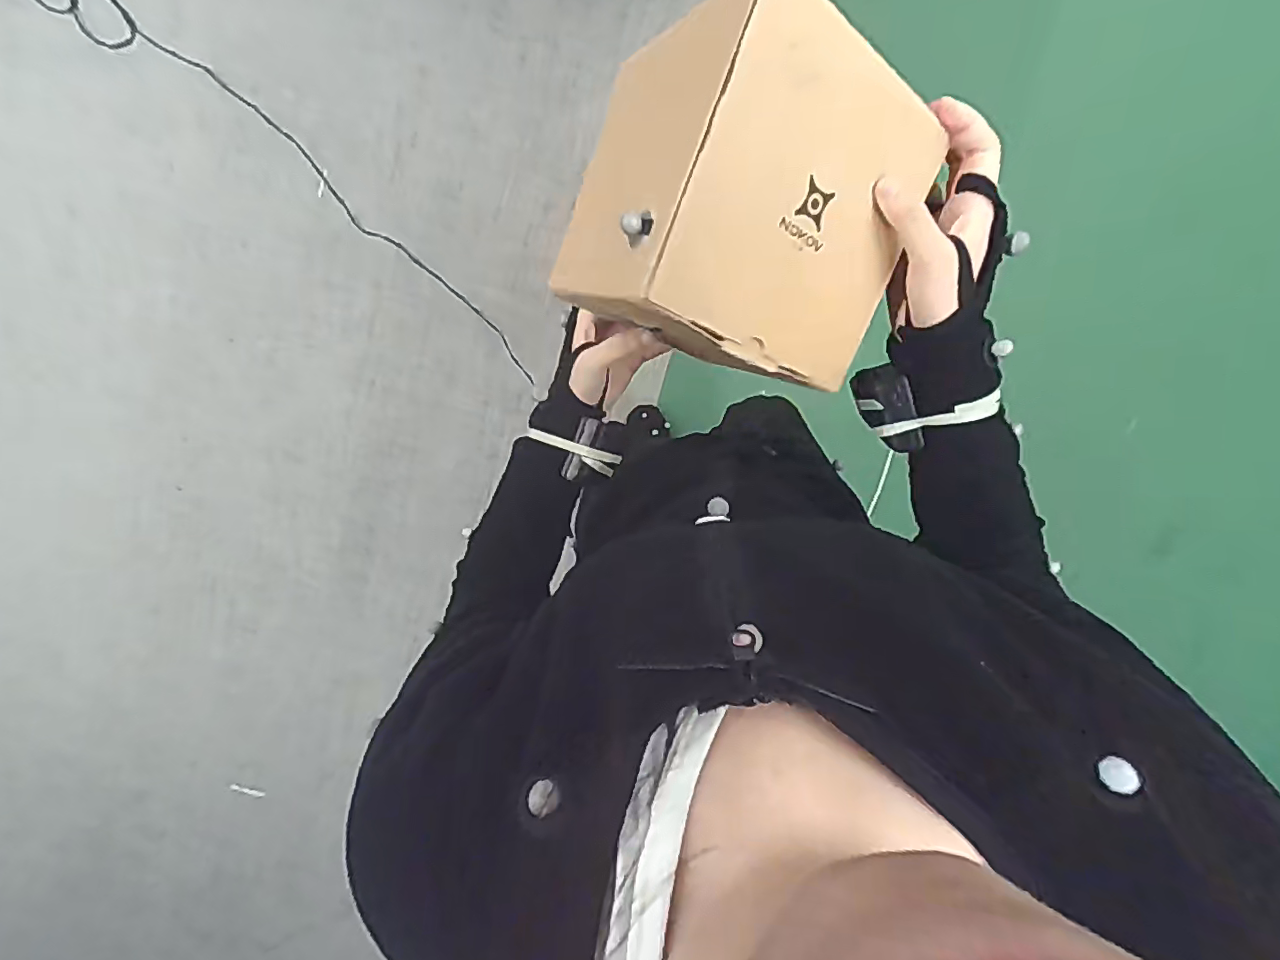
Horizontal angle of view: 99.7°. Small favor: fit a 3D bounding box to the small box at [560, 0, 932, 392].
[{"bbox_3d":[0.059,-0.181,0.388,0.168,0.176,0.179,12,103,-31],"label":"small box"}]
